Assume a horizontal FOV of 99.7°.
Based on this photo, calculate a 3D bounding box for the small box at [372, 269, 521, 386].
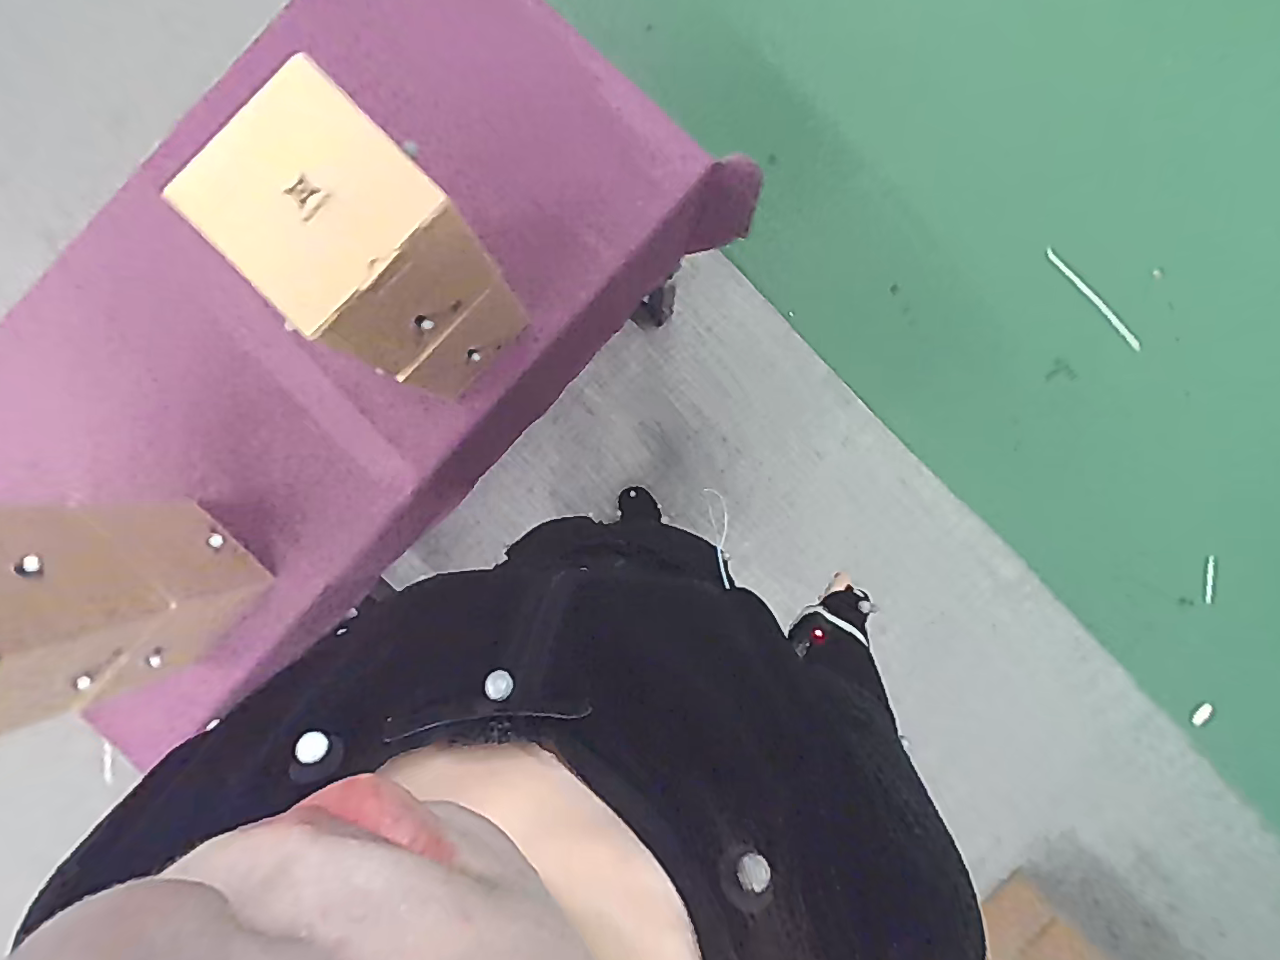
[{"bbox_3d":[-0.278,-0.237,0.692,0.179,0.176,0.168,45,90,0],"label":"small box"}]

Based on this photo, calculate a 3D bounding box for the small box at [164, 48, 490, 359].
[{"bbox_3d":[-0.280,-0.243,0.529,0.168,0.176,0.179,-45,92,1],"label":"small box"}]
